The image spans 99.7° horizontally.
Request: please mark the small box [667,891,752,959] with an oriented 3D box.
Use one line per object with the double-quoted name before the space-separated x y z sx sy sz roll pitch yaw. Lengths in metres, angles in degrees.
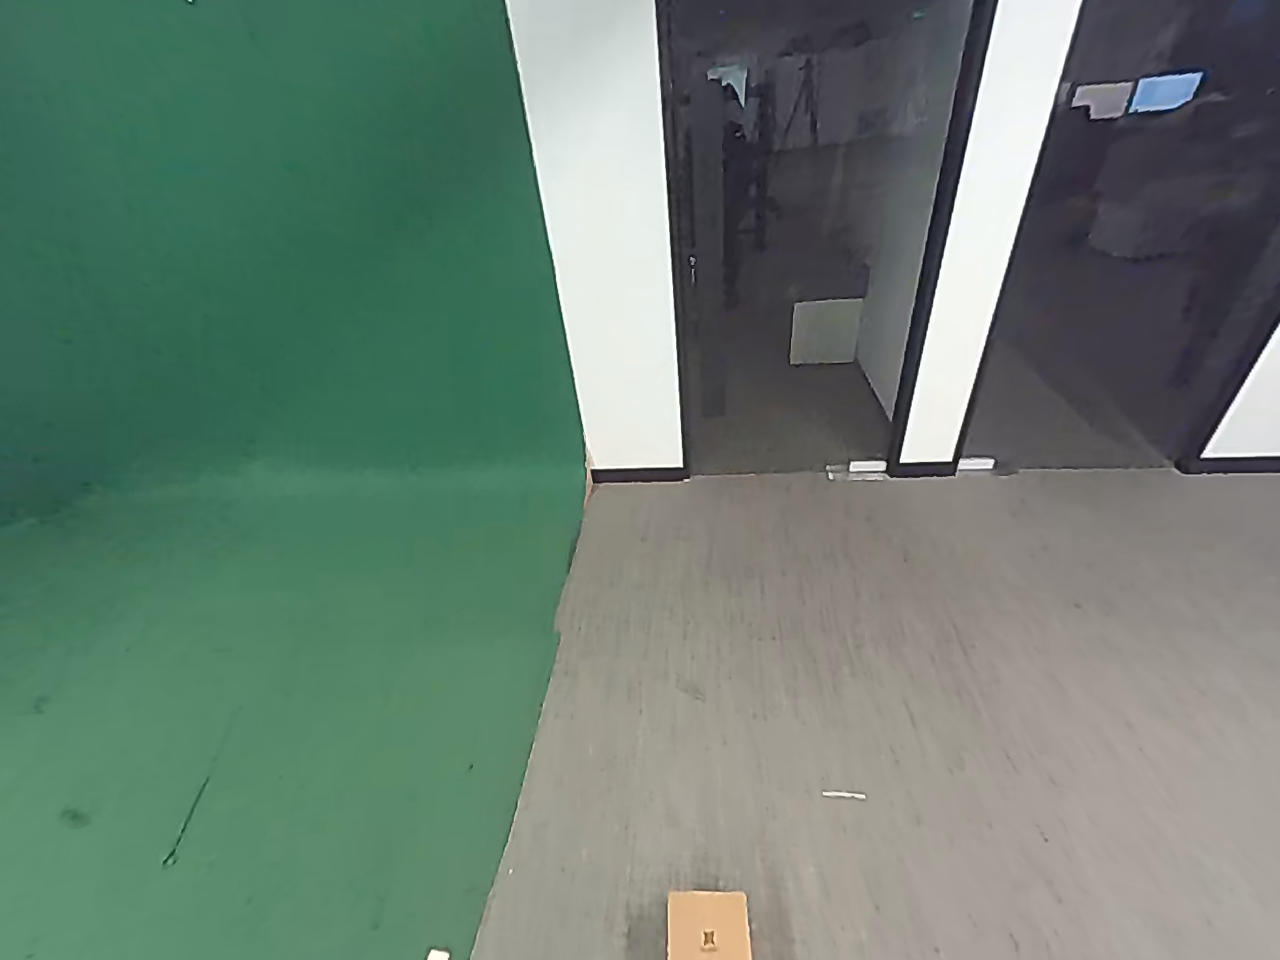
"small box" 0.141 0.976 1.102 0.168 0.176 0.179 -3 35 5
